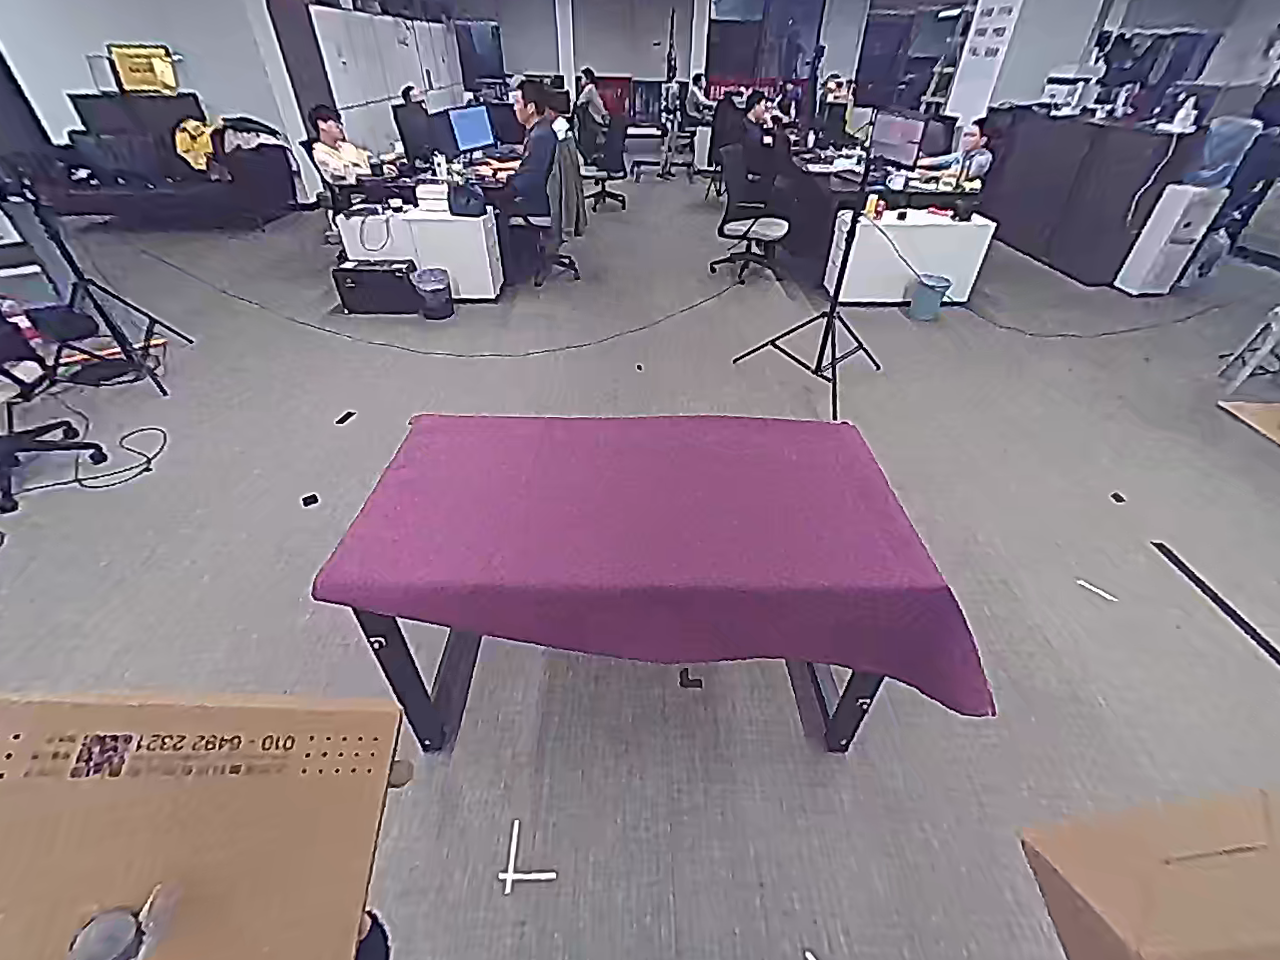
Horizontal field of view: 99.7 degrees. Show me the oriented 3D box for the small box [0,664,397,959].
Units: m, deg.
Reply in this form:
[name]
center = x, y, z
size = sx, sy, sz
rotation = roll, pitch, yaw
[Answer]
[small box]
center = -0.223, 0.182, 0.258
size = 0.168, 0.179, 0.176
rotation = 13, 66, -22
